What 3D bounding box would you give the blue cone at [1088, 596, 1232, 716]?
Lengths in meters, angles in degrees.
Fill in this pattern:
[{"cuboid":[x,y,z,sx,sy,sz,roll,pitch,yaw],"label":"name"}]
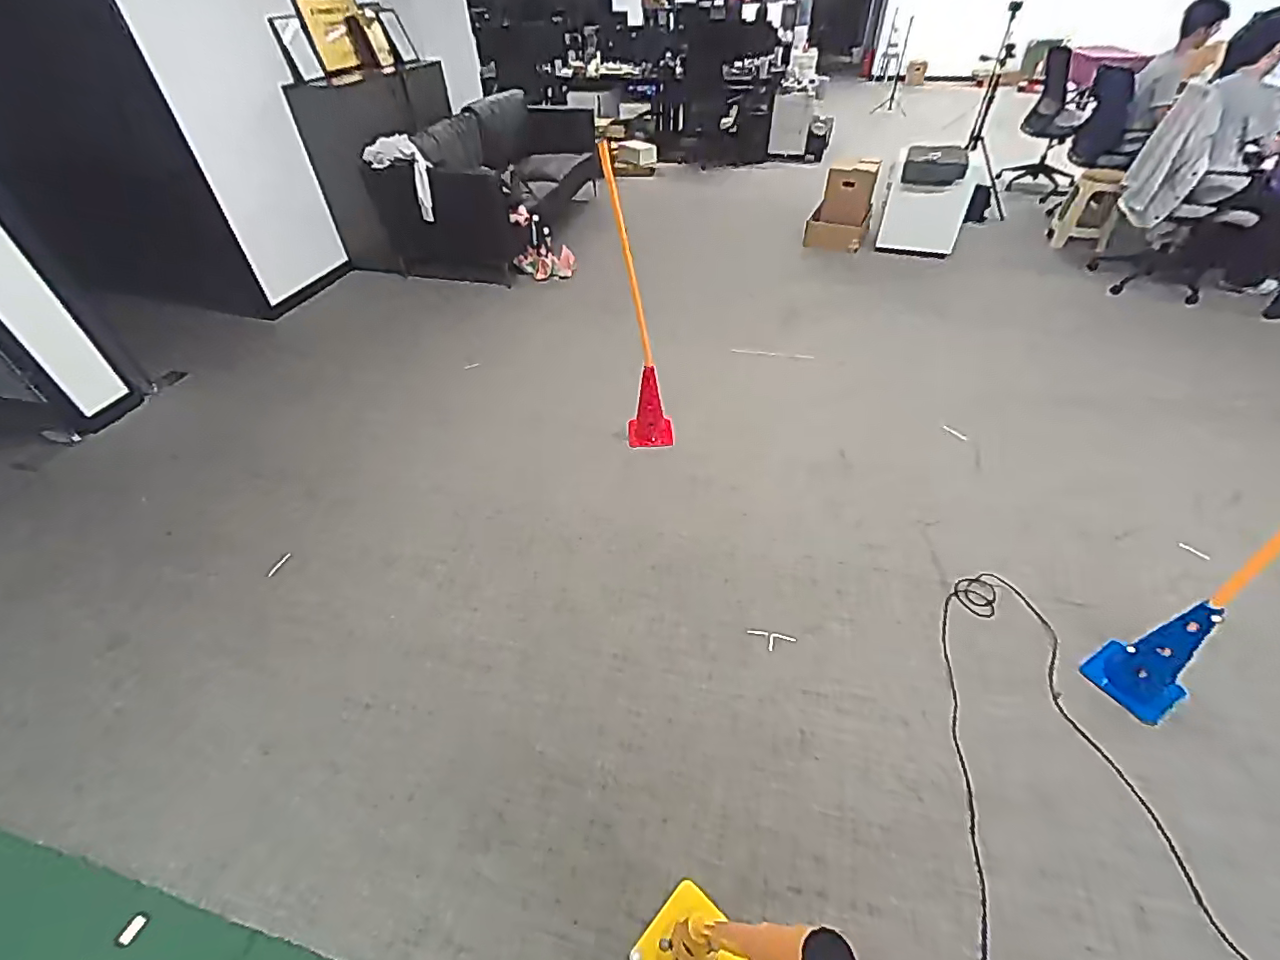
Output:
[{"cuboid":[1.416,0.434,1.444,0.193,0.380,0.192,-21,45,-24],"label":"blue cone"}]
